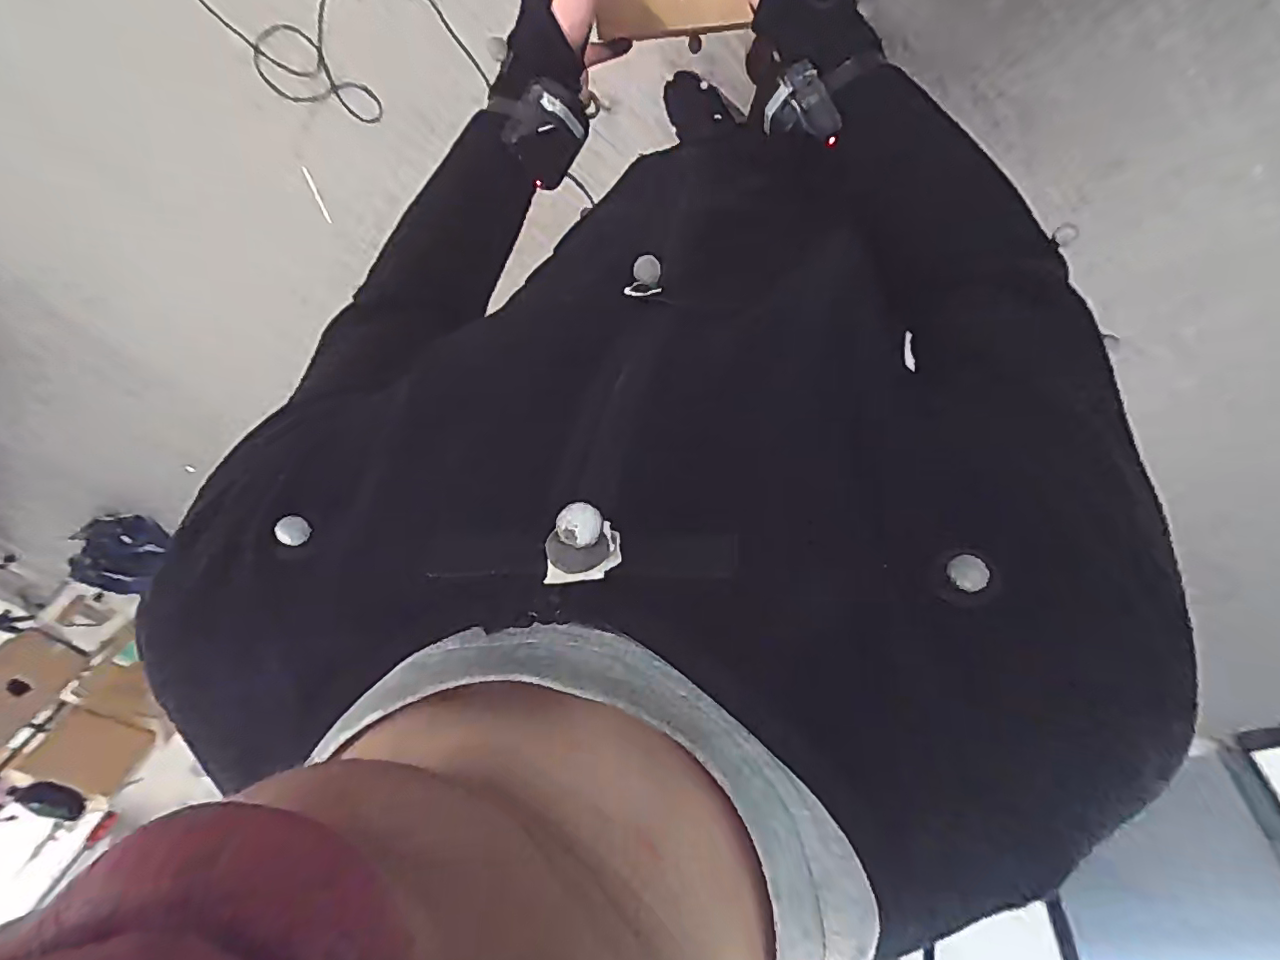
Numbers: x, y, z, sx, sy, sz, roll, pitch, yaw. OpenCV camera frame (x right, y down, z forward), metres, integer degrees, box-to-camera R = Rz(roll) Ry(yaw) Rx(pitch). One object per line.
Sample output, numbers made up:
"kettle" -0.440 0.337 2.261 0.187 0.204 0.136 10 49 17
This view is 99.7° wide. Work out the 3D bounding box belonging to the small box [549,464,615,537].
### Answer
"small box" -0.205 0.071 1.979 0.168 0.176 0.179 29 133 -13
